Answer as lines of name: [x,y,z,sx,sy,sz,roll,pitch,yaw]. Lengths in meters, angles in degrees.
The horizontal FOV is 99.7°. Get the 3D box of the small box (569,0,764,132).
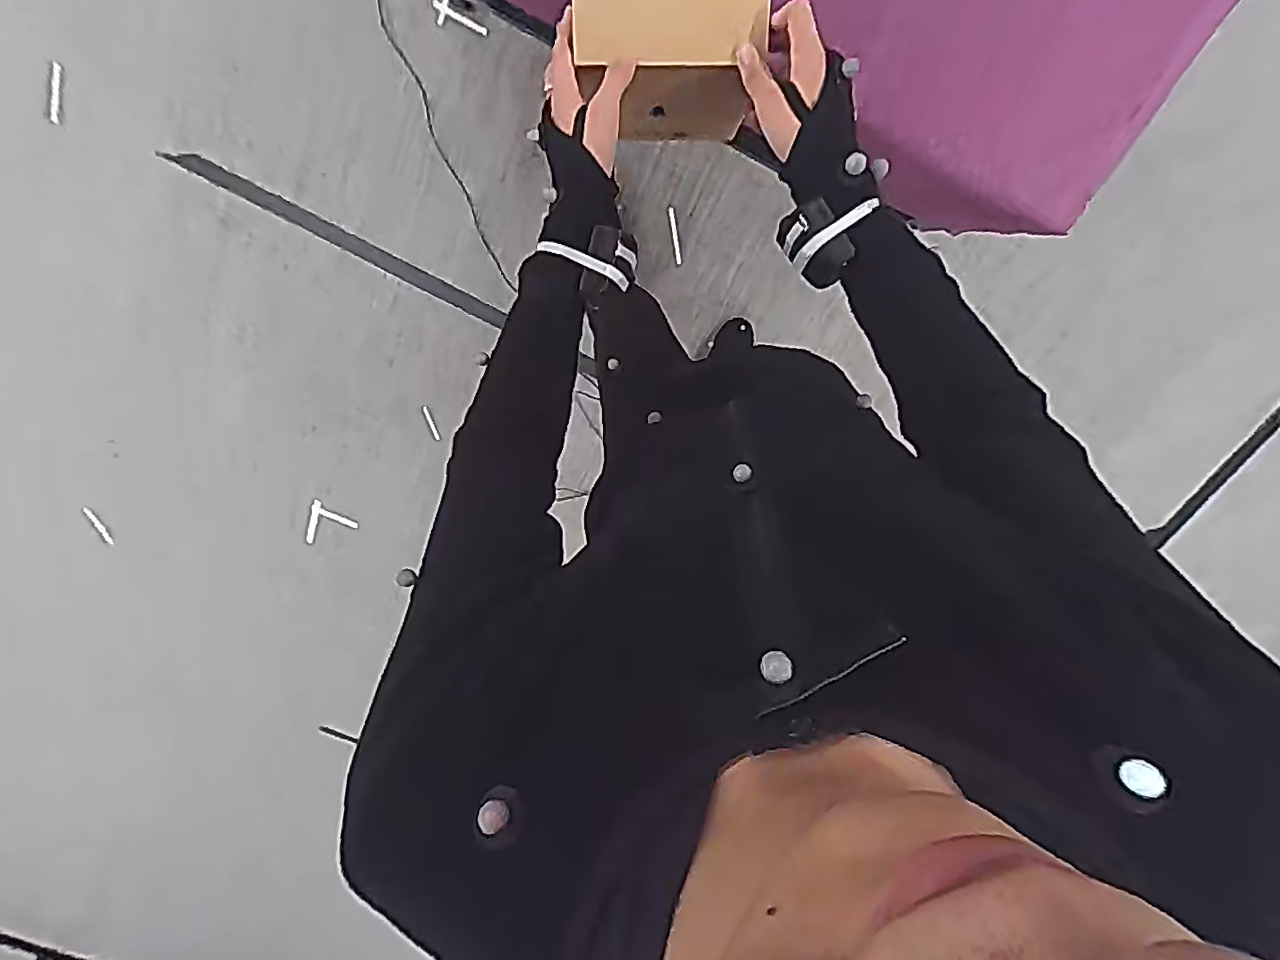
small box: [0.023,-0.458,0.518,0.168,0.176,0.179,0,102,-1]
